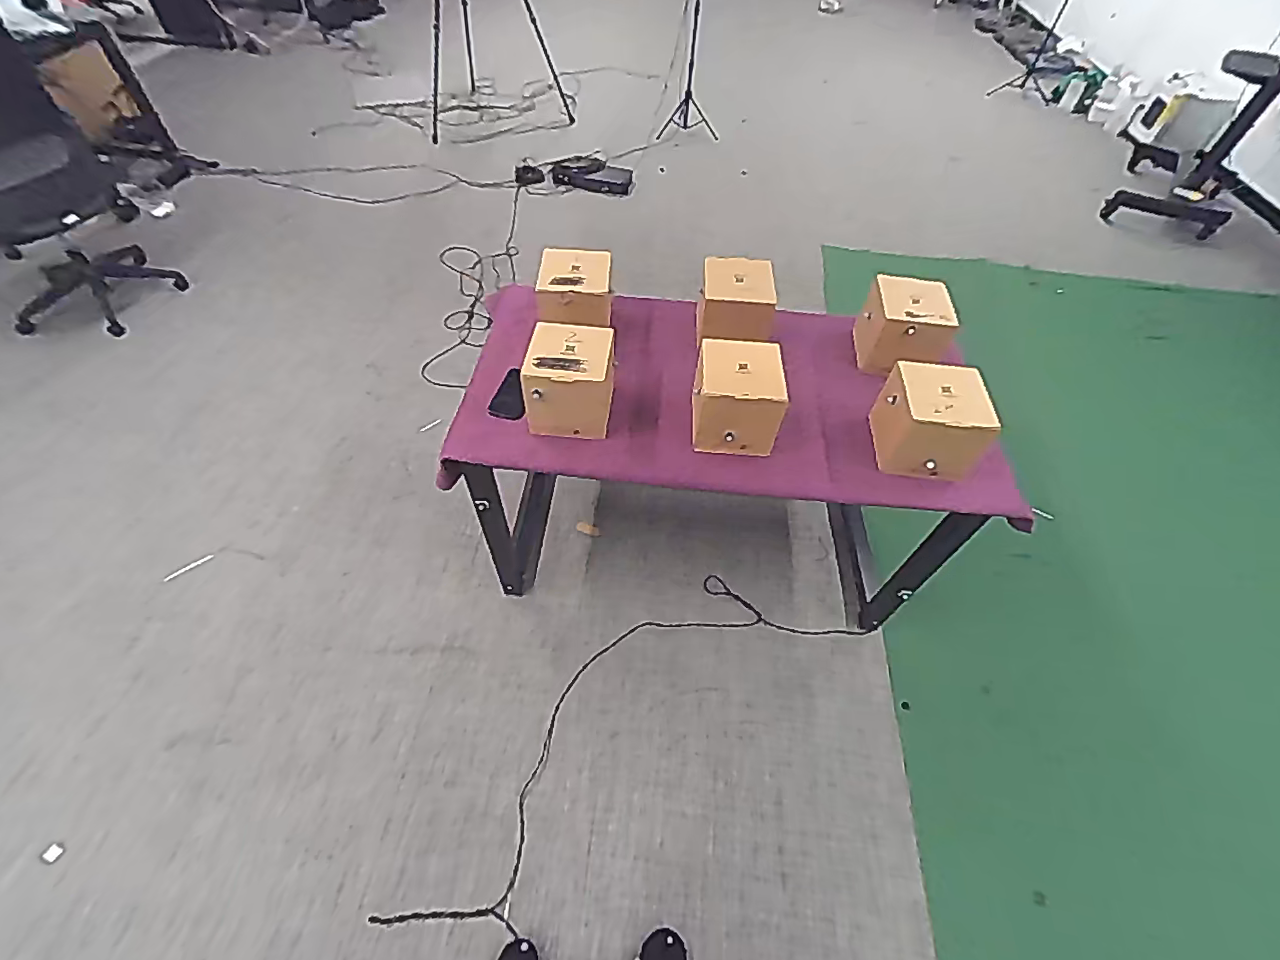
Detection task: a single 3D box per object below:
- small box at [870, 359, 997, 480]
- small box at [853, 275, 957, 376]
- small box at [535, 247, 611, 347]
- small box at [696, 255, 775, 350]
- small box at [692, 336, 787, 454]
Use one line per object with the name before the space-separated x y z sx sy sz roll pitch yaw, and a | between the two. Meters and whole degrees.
small box | 0.599 -0.126 1.132 0.168 0.176 0.179 7 53 3
small box | 0.636 -0.374 1.327 0.168 0.176 0.179 7 53 3
small box | -0.158 -0.447 1.330 0.168 0.176 0.179 3 52 -2
small box | 0.230 -0.431 1.345 0.168 0.176 0.179 5 54 1
small box | 0.202 -0.180 1.153 0.168 0.176 0.179 4 52 -1
